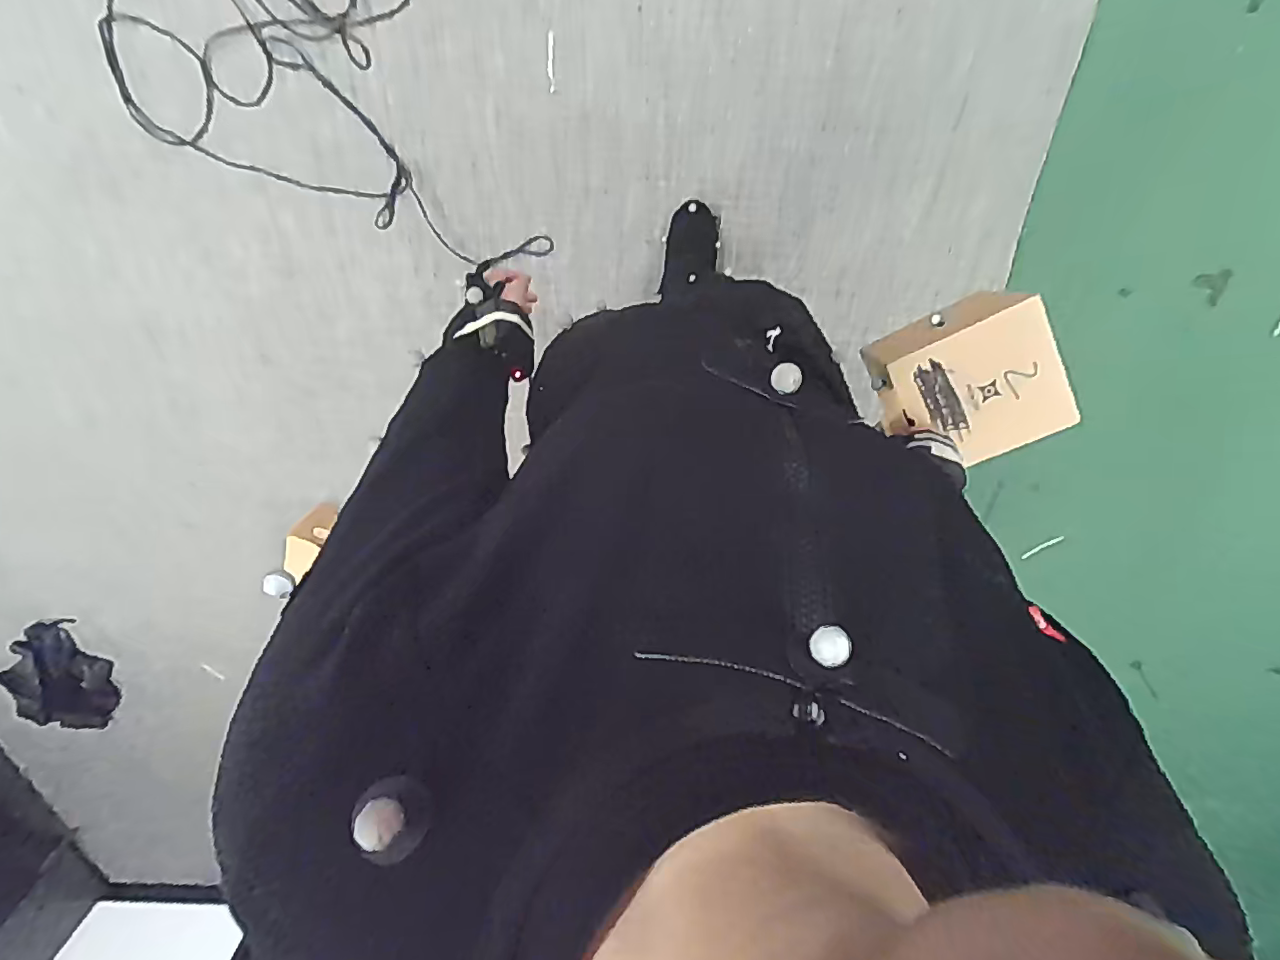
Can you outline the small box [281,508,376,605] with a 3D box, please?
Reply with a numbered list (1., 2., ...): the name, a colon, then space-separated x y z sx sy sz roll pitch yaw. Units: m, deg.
1. small box: -0.865 0.210 1.511 0.168 0.176 0.179 20 117 -8
